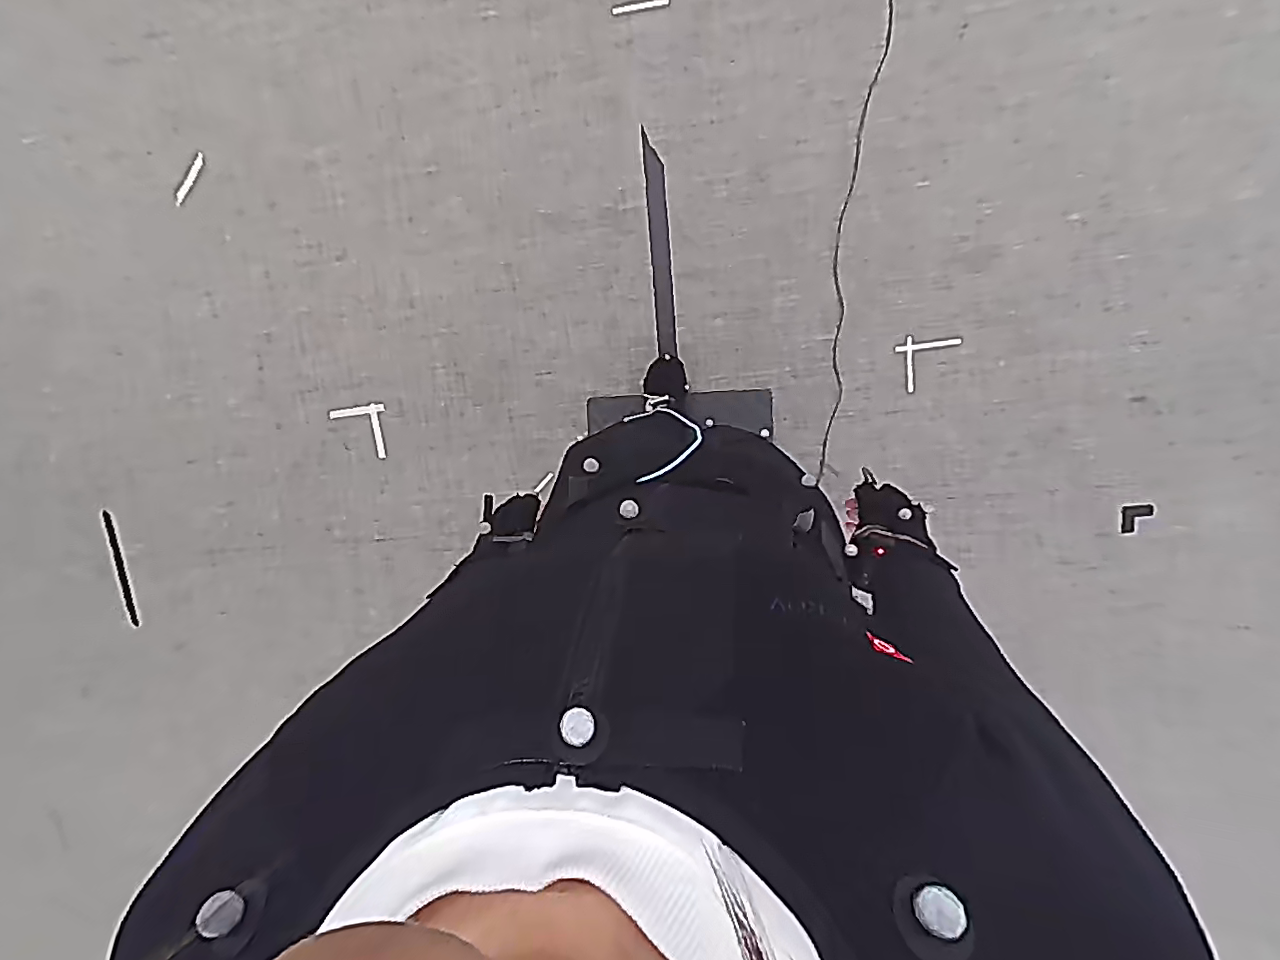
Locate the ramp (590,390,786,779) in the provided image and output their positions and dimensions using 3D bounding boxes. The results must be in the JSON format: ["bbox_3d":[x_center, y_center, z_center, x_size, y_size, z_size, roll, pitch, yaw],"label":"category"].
[{"bbox_3d":[0.116,0.271,1.426,0.509,0.206,0.991,-3,98,9],"label":"ramp"}]
